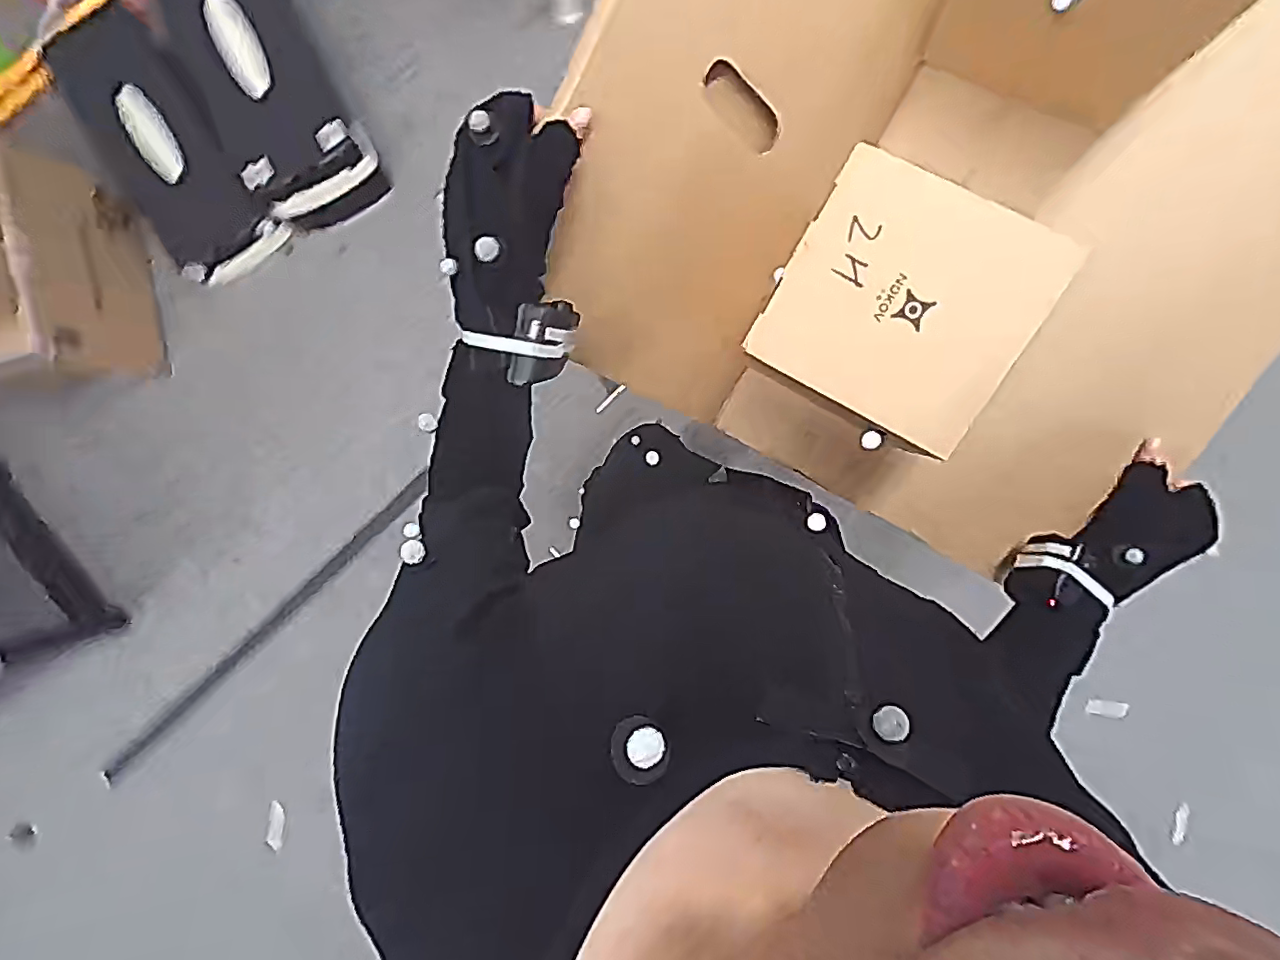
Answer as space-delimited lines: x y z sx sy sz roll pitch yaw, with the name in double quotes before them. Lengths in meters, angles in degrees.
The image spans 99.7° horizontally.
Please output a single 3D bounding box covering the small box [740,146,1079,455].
"small box" 0.209 -0.141 0.475 0.179 0.176 0.168 32 103 8
